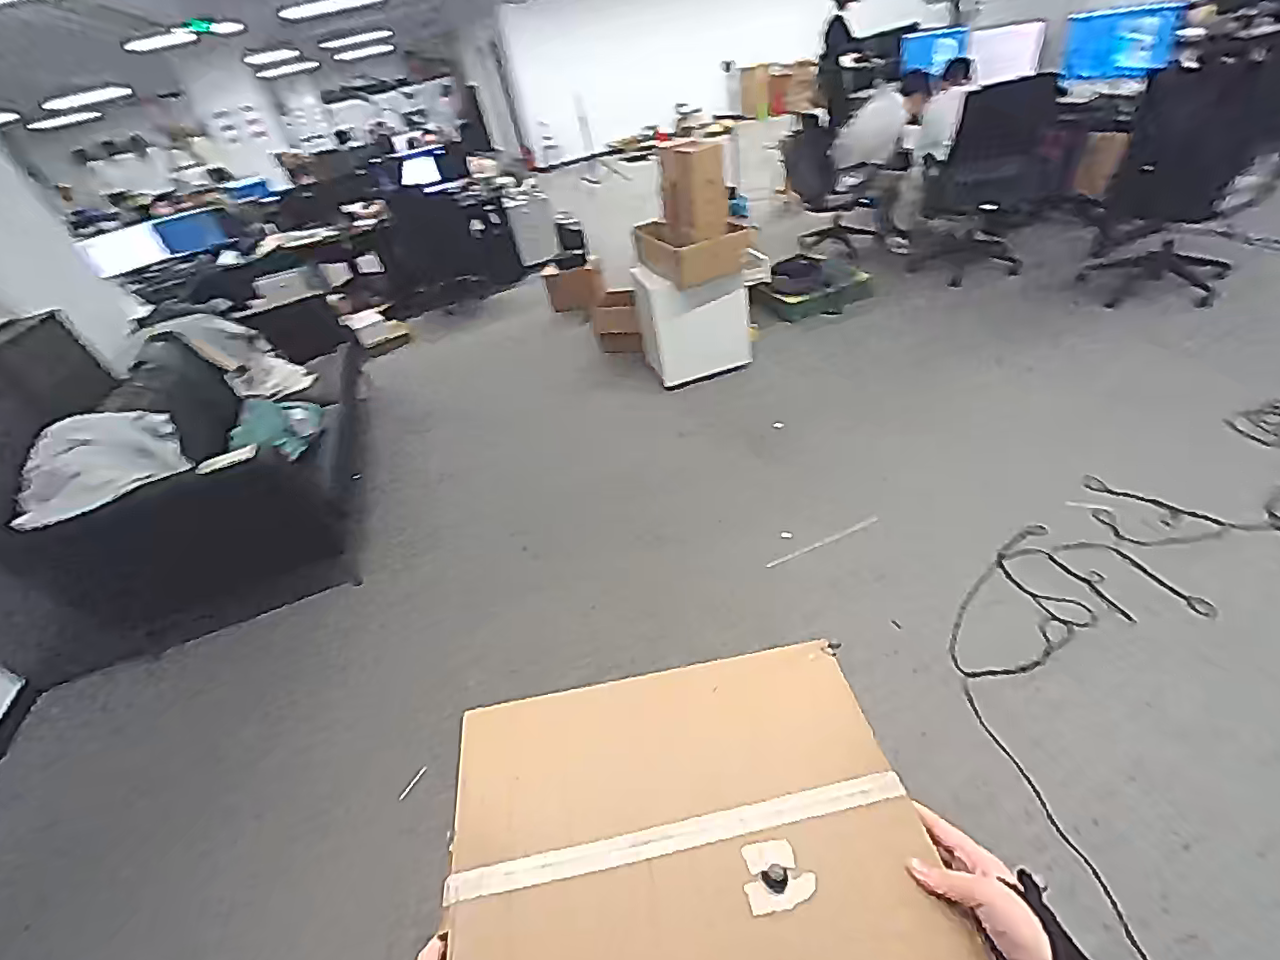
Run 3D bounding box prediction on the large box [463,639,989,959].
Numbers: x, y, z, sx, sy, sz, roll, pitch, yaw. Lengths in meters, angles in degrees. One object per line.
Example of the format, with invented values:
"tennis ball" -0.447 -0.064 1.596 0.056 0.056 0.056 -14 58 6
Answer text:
"large box" 0.051 0.423 0.583 0.408 0.320 0.320 -8 41 -5
